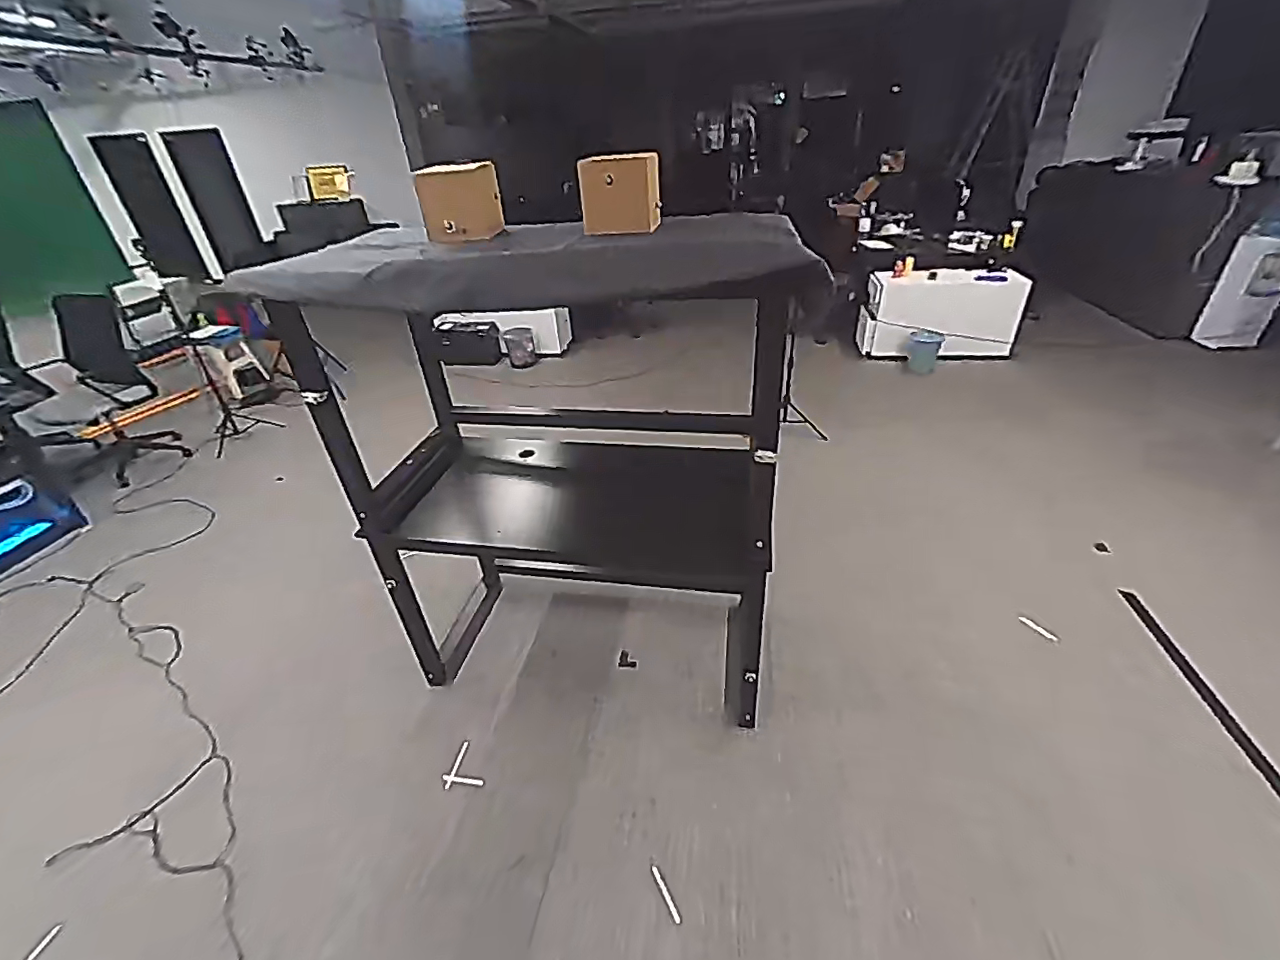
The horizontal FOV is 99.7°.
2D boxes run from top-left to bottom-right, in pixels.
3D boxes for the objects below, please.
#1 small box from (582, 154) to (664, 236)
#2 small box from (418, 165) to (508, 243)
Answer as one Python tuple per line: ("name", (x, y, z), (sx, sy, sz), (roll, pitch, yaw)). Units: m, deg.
("small box", (-0.037, -0.736, 1.397), (0.179, 0.176, 0.168), (3, 34, 11))
("small box", (-0.466, -0.744, 1.459), (0.168, 0.176, 0.179), (-2, 33, 6))
